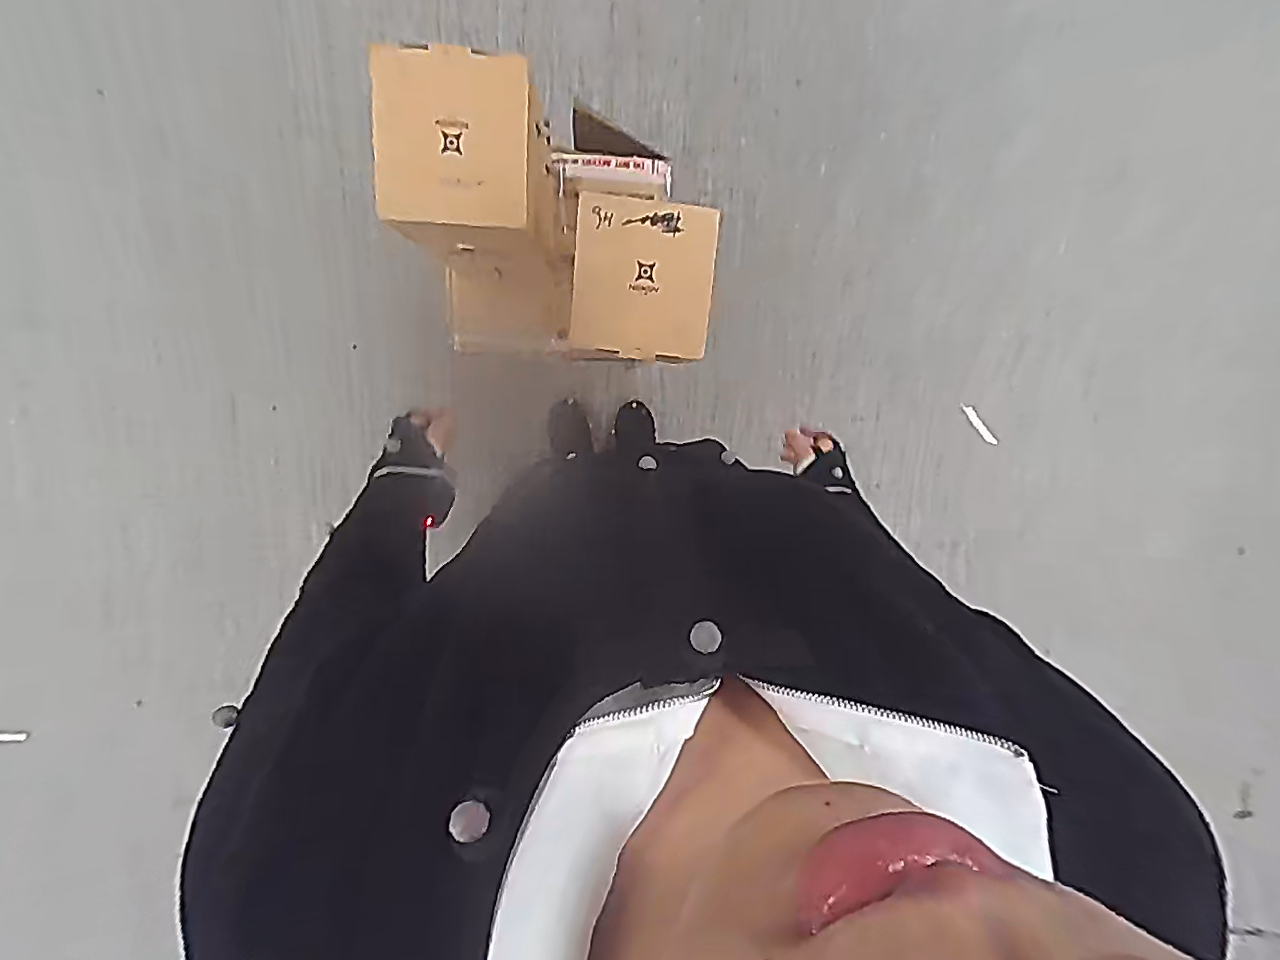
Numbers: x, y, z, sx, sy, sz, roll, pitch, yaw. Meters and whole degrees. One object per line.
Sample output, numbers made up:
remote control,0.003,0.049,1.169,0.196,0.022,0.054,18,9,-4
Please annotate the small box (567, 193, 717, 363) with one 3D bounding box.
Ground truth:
small box,-0.006,-0.253,0.716,0.168,0.176,0.179,4,102,-7

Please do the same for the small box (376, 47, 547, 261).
small box,-0.208,-0.385,0.670,0.168,0.176,0.179,2,101,-4

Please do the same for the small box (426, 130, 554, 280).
small box,-0.223,-0.417,0.829,0.168,0.176,0.179,1,101,-4
